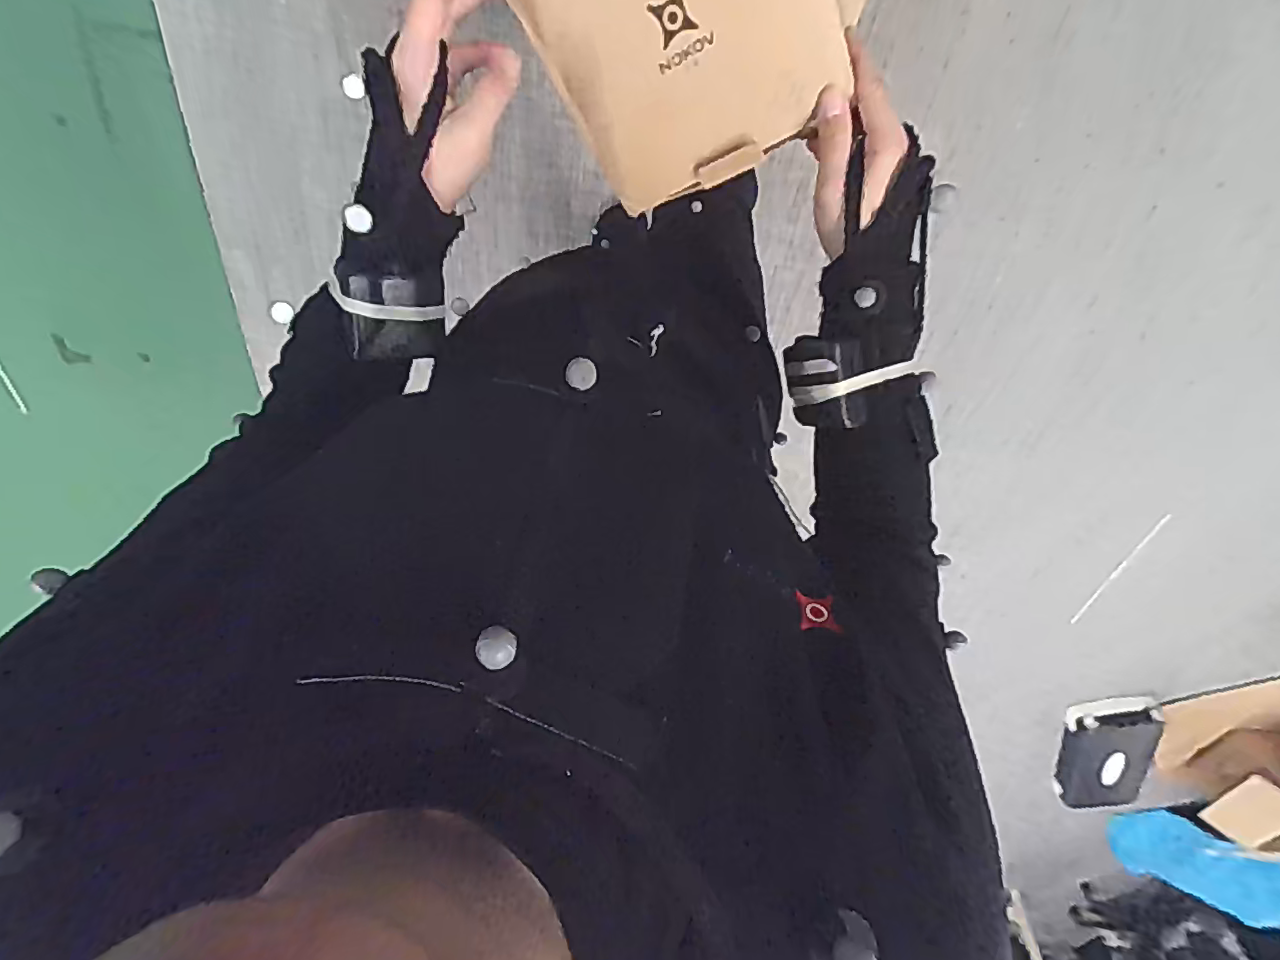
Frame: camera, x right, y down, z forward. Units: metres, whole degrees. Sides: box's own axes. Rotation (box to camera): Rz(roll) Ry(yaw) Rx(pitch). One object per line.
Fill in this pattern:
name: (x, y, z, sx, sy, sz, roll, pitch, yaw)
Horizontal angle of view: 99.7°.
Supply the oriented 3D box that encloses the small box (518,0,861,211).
small box: (0.038, -0.328, 0.358, 0.168, 0.176, 0.179, -14, 137, 29)
